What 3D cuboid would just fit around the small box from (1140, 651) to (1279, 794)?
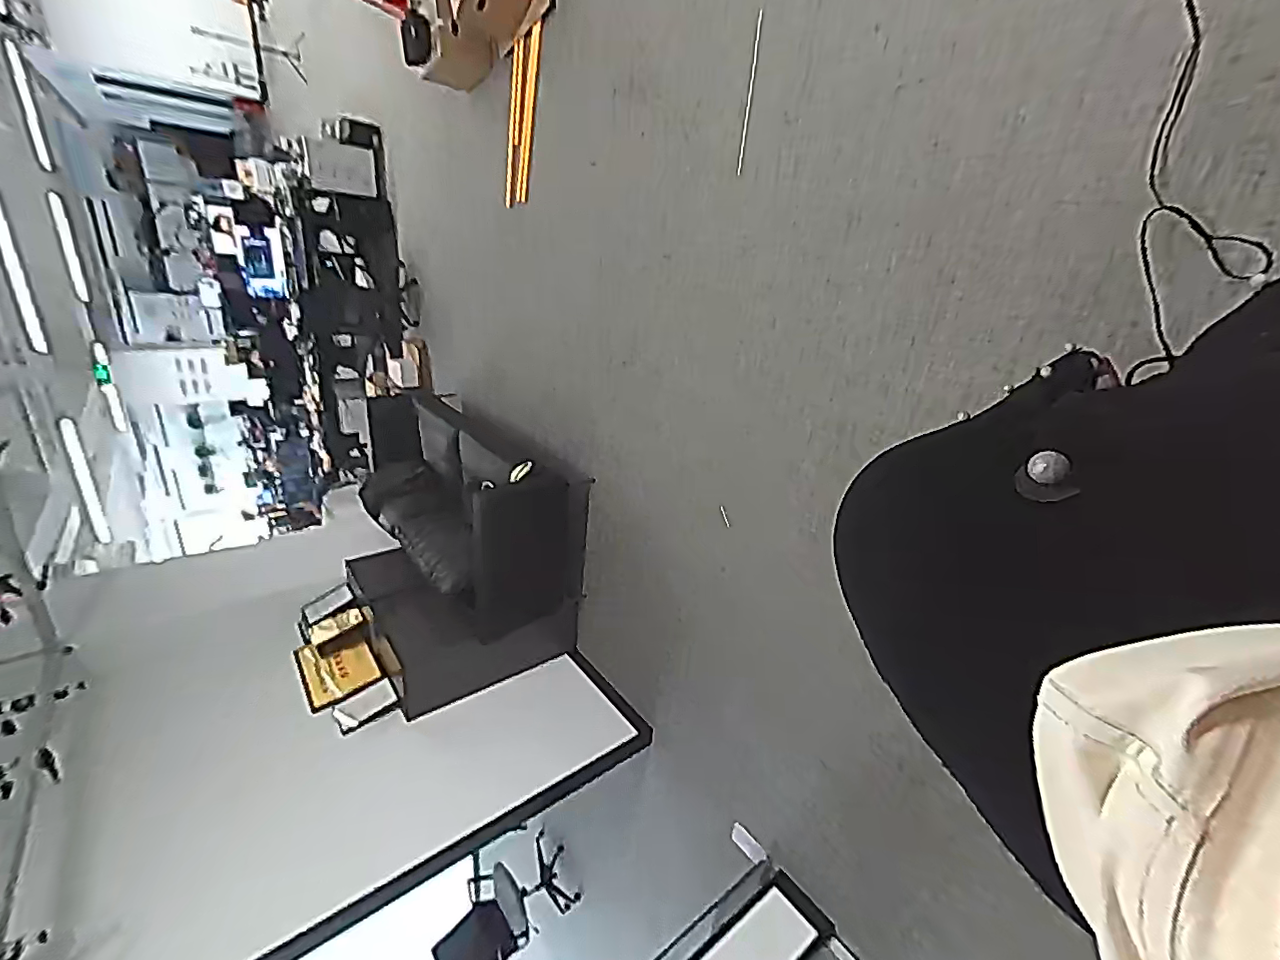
[{"bbox_3d":[1.199,0.492,1.117,0.168,0.176,0.179,36,128,42],"label":"small box"}]
